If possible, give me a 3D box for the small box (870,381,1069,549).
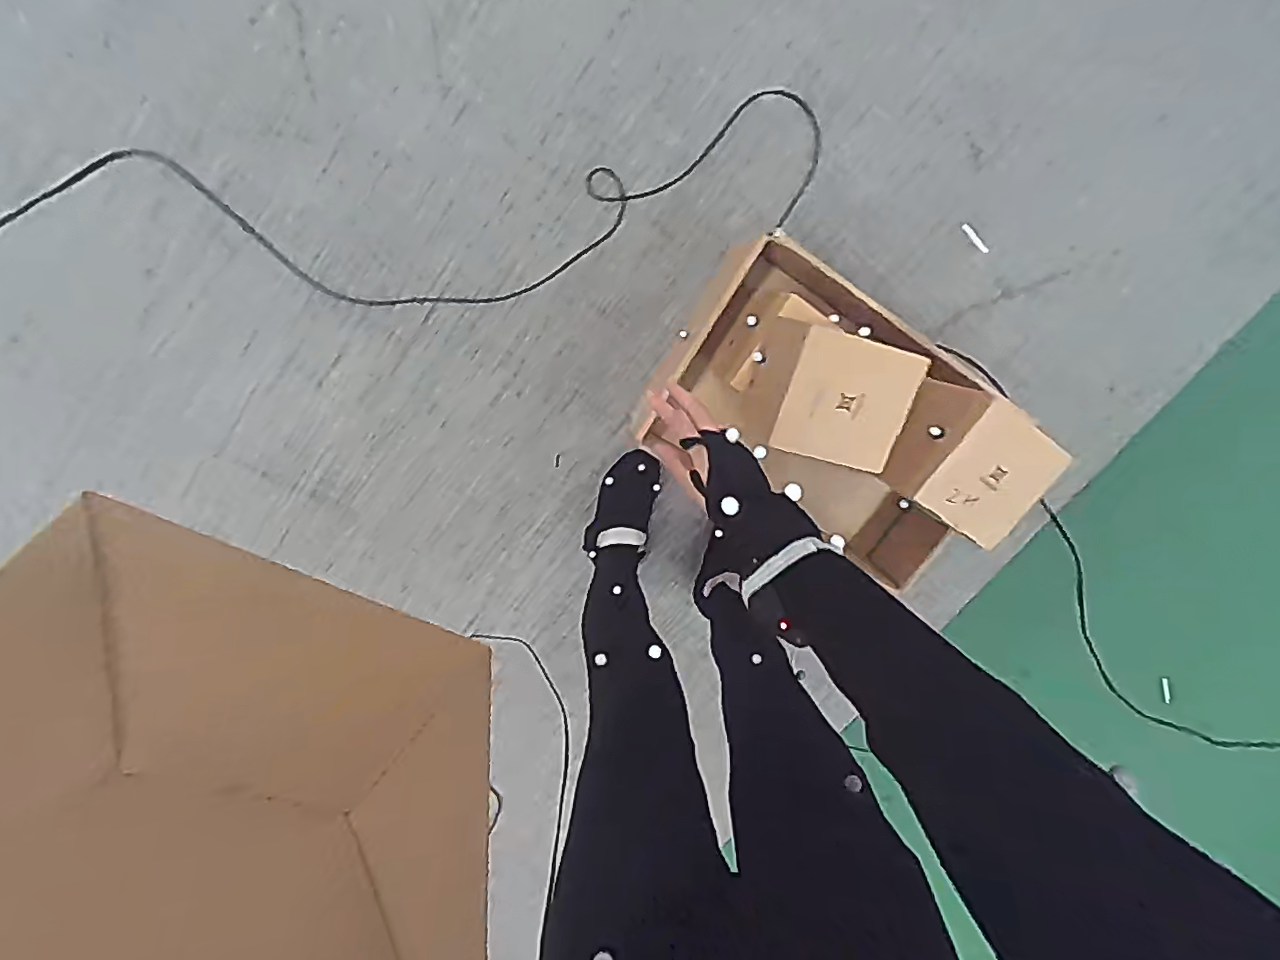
[{"bbox_3d":[0.485,-0.033,0.835,0.168,0.176,0.179,31,104,-15],"label":"small box"}]

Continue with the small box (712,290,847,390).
[{"bbox_3d":[0.247,-0.205,0.925,0.179,0.176,0.168,29,105,-16],"label":"small box"}]

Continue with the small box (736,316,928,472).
[{"bbox_3d":[0.261,-0.131,0.780,0.179,0.176,0.168,13,109,-11],"label":"small box"}]
